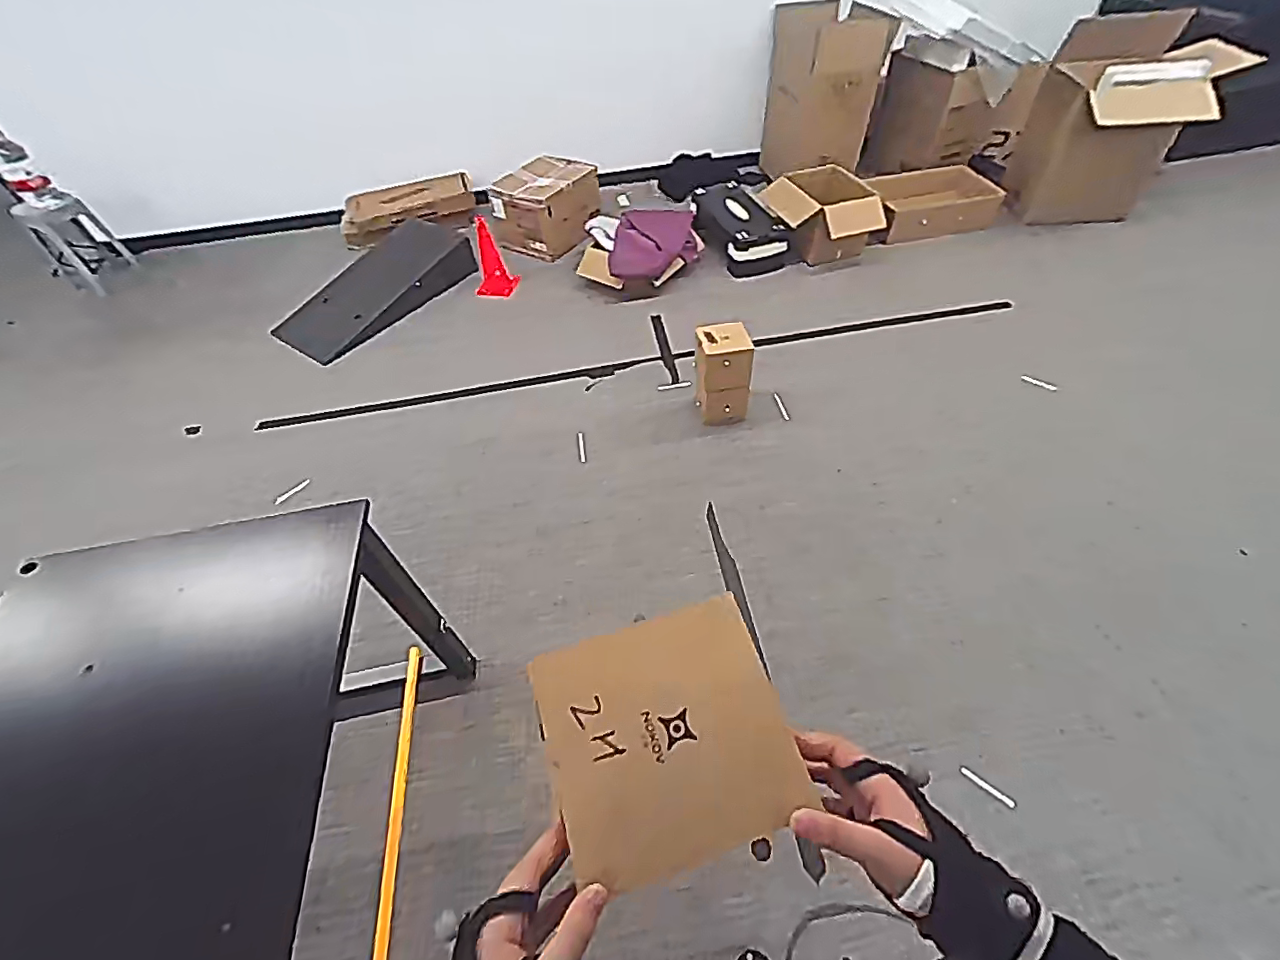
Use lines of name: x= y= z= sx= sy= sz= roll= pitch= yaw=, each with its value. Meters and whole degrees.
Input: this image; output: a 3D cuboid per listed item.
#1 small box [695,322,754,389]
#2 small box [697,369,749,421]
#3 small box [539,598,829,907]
small box: x=0.301 y=-0.447 z=1.962 sx=0.179 sy=0.176 sz=0.168 roll=-9 pitch=50 yaw=-4
small box: x=0.316 y=-0.341 z=2.089 sx=0.168 sy=0.176 sz=0.179 roll=-8 pitch=51 yaw=-2
small box: x=0.026 y=0.223 z=0.465 sx=0.179 sy=0.176 sz=0.168 roll=-16 pitch=62 yaw=-8
